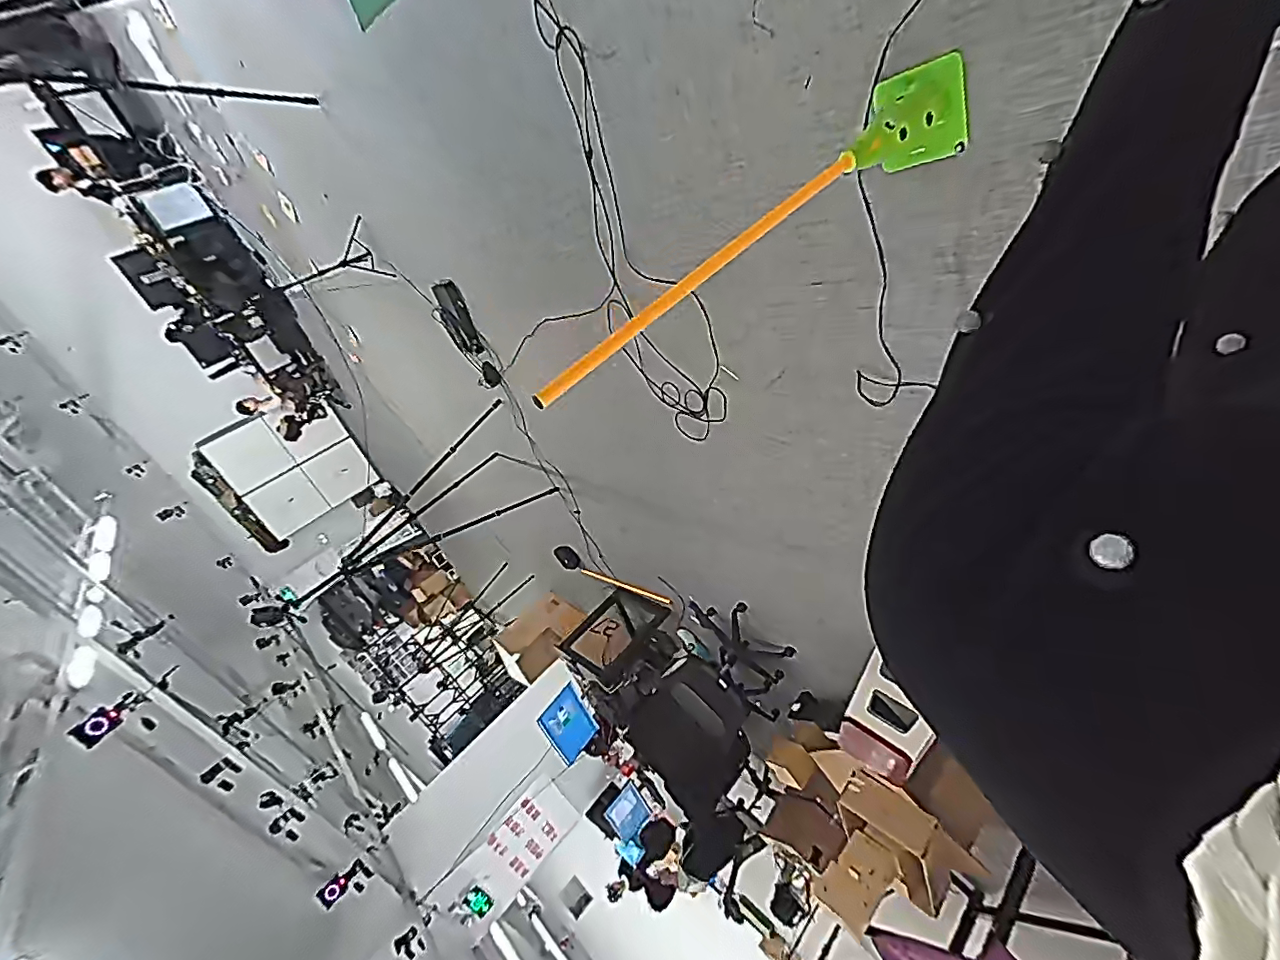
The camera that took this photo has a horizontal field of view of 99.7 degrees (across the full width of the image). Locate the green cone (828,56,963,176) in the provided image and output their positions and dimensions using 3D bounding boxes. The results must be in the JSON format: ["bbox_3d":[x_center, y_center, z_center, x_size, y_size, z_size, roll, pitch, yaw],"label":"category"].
[{"bbox_3d":[0.534,-0.760,1.201,0.202,0.368,0.200,14,136,50],"label":"green cone"}]
